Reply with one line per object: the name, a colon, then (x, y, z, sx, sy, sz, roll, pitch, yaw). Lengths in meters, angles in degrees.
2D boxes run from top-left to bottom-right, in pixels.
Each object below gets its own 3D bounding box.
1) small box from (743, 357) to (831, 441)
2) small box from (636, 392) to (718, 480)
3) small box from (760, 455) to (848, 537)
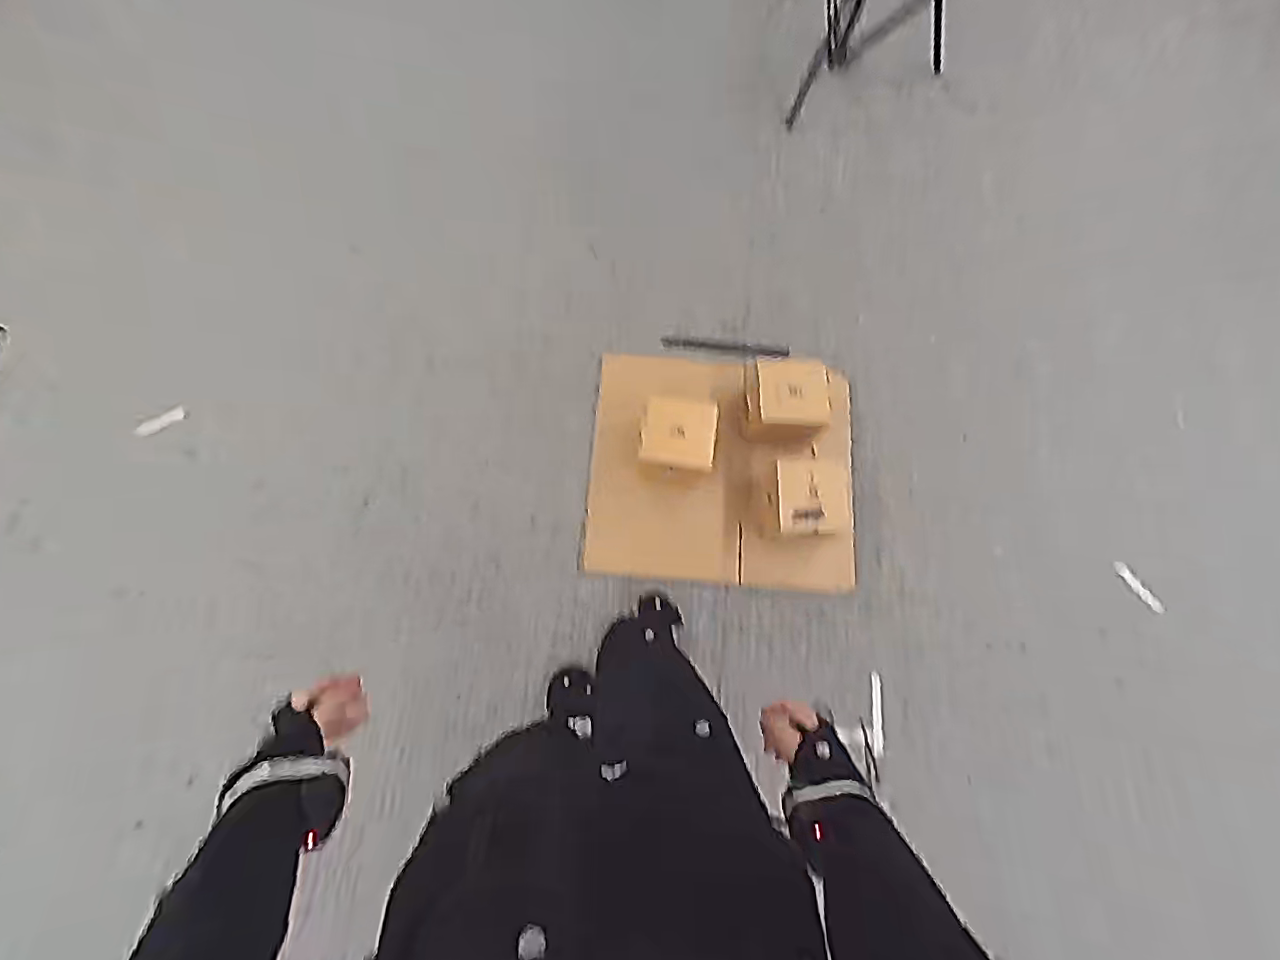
small box: (0.373, -0.205, 1.400, 0.179, 0.176, 0.168, 0, 75, -2)
small box: (0.088, -0.104, 1.361, 0.179, 0.176, 0.168, 8, 76, 1)
small box: (0.397, 0.046, 1.335, 0.168, 0.176, 0.179, 1, 76, -2)
